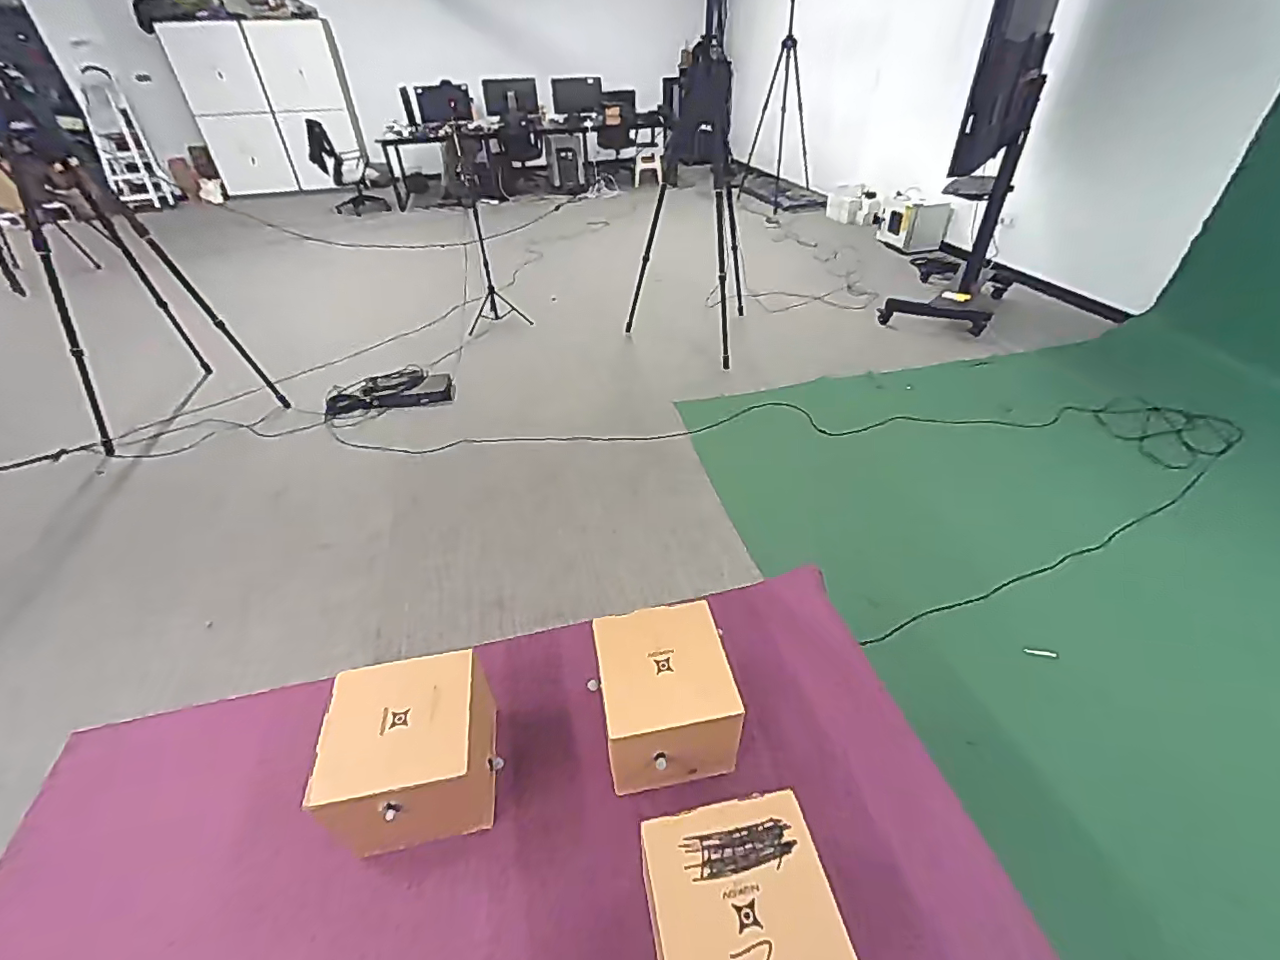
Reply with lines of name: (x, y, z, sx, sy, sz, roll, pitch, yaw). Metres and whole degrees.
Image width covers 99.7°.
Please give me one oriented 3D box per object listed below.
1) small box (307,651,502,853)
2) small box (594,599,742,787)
small box: (-0.286, 0.353, 0.703, 0.179, 0.176, 0.168, -8, 40, -7)
small box: (0.035, 0.297, 0.748, 0.168, 0.176, 0.179, -9, 39, -6)
